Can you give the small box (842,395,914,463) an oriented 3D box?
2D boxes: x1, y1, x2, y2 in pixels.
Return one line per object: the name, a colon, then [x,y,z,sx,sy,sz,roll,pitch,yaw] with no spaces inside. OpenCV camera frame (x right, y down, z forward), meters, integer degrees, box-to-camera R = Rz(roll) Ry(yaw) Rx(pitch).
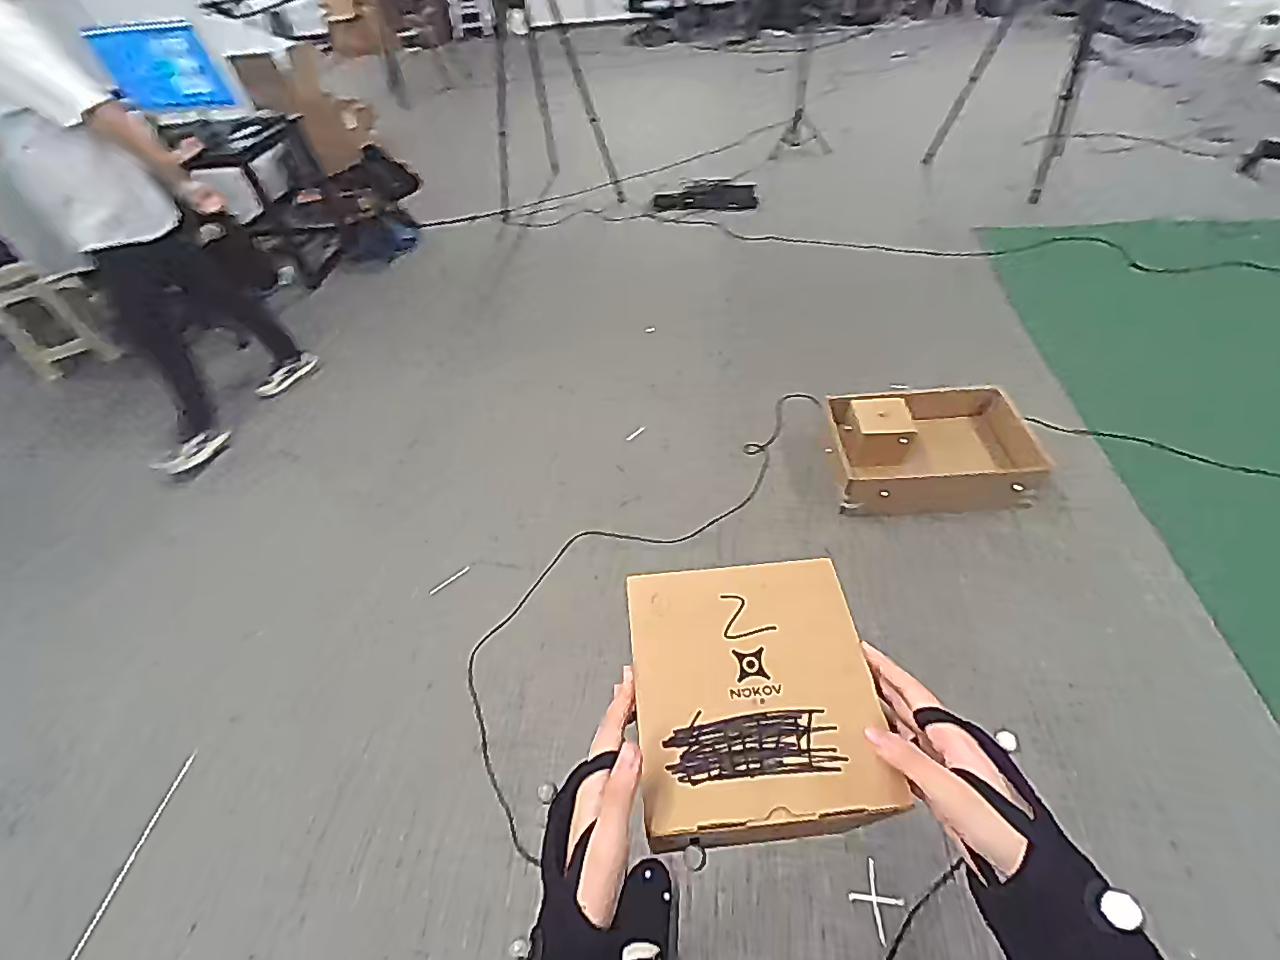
small box: [0.808,-0.171,1.864,0.179,0.176,0.168,-3,51,3]
